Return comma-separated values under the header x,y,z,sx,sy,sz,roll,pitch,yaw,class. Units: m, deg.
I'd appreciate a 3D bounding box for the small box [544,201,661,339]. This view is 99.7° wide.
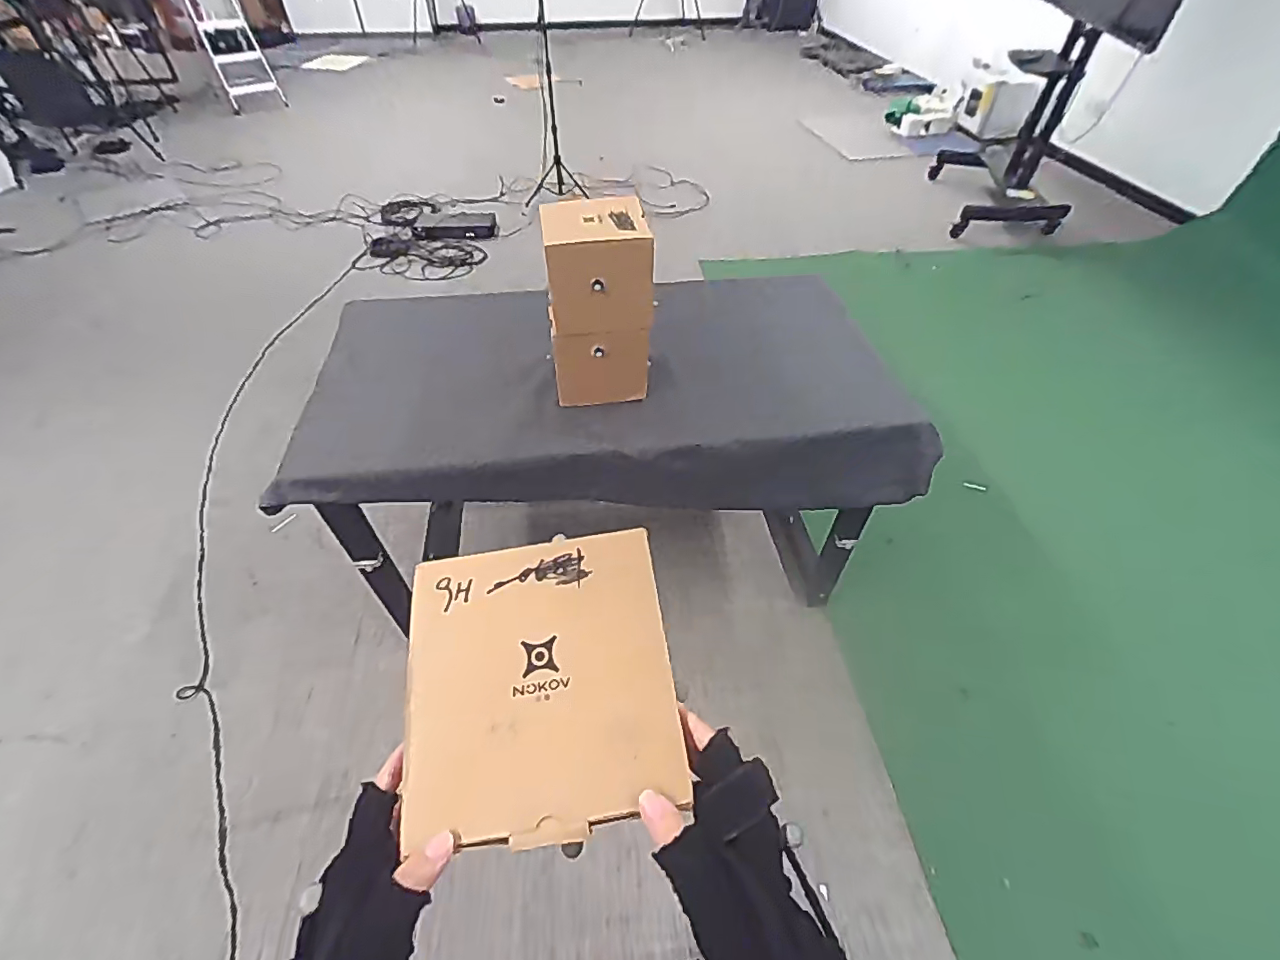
x,y,z,sx,sy,sz,roll,pitch,yaw,class
-0.068,-0.369,0.954,0.179,0.176,0.168,-8,49,-8,small box

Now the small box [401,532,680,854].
x,y,z,sx,sy,sz,roll,pitch,yaw,class
-0.063,0.161,0.416,0.168,0.176,0.179,-9,60,-2,small box

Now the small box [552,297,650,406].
x,y,z,sx,sy,sz,roll,pitch,yaw,class
-0.077,-0.262,1.079,0.179,0.176,0.168,-5,49,-6,small box
